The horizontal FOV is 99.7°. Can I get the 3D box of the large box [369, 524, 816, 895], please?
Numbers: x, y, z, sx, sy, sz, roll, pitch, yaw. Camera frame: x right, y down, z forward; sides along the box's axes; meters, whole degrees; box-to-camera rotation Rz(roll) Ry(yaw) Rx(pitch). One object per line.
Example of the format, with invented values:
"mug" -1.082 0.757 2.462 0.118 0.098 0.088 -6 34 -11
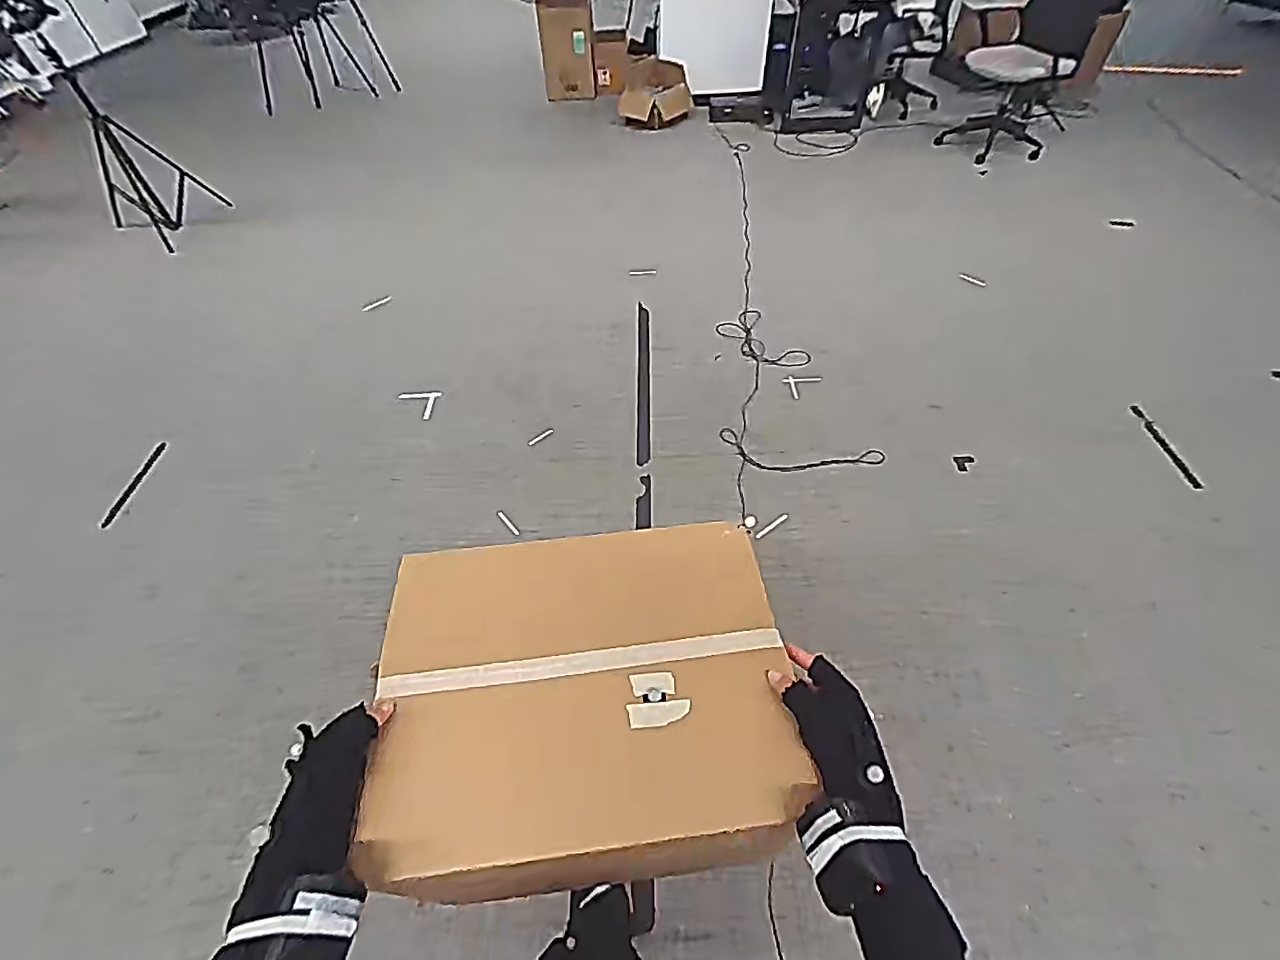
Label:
"large box" -0.054 0.288 0.679 0.408 0.320 0.320 -6 50 -4
